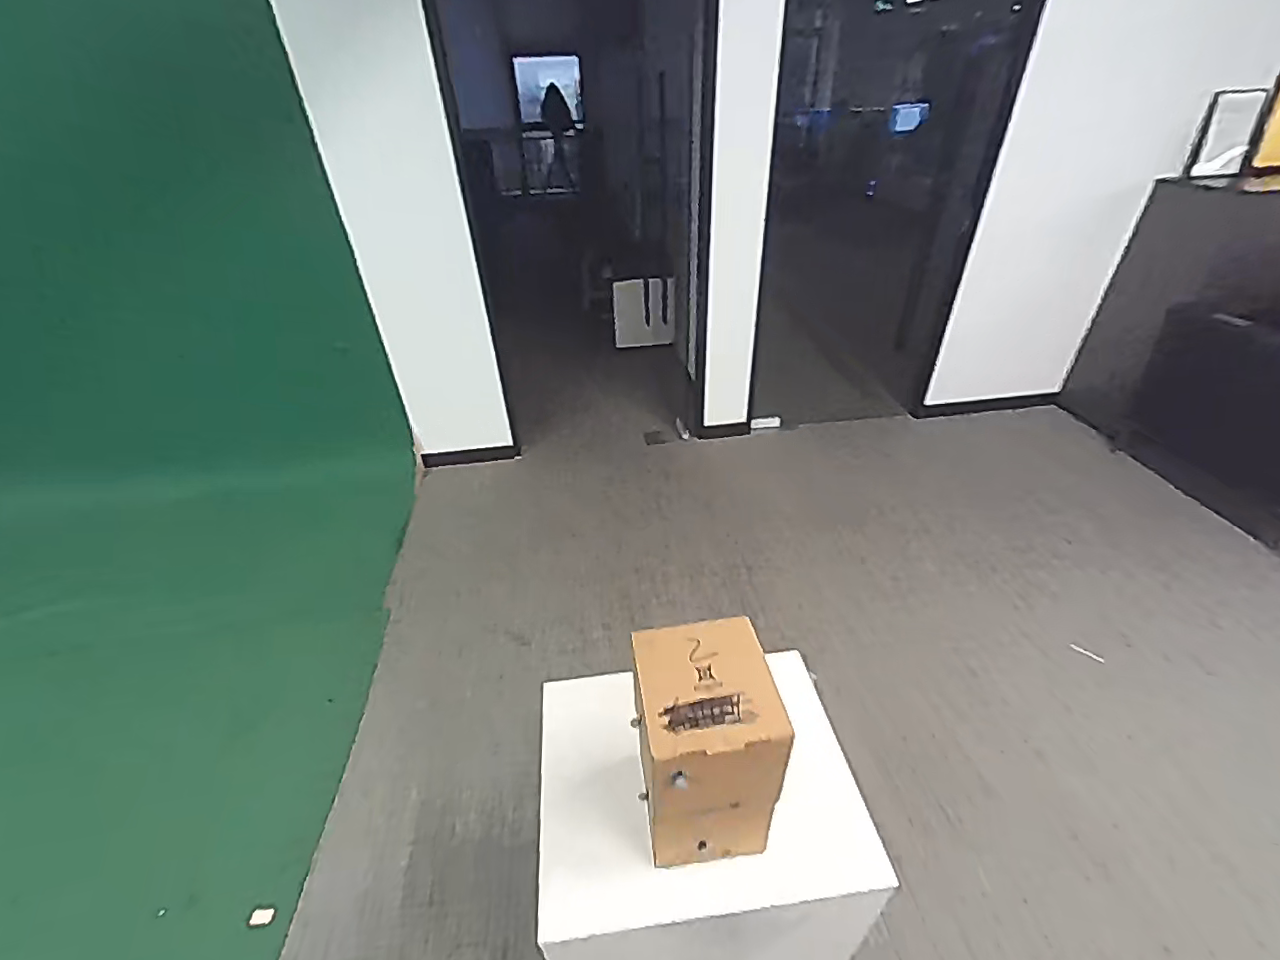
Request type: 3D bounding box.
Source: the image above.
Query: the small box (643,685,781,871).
[{"bbox_3d":[0.094,0.436,0.800,0.168,0.176,0.179,-6,35,-4],"label":"small box"}]
